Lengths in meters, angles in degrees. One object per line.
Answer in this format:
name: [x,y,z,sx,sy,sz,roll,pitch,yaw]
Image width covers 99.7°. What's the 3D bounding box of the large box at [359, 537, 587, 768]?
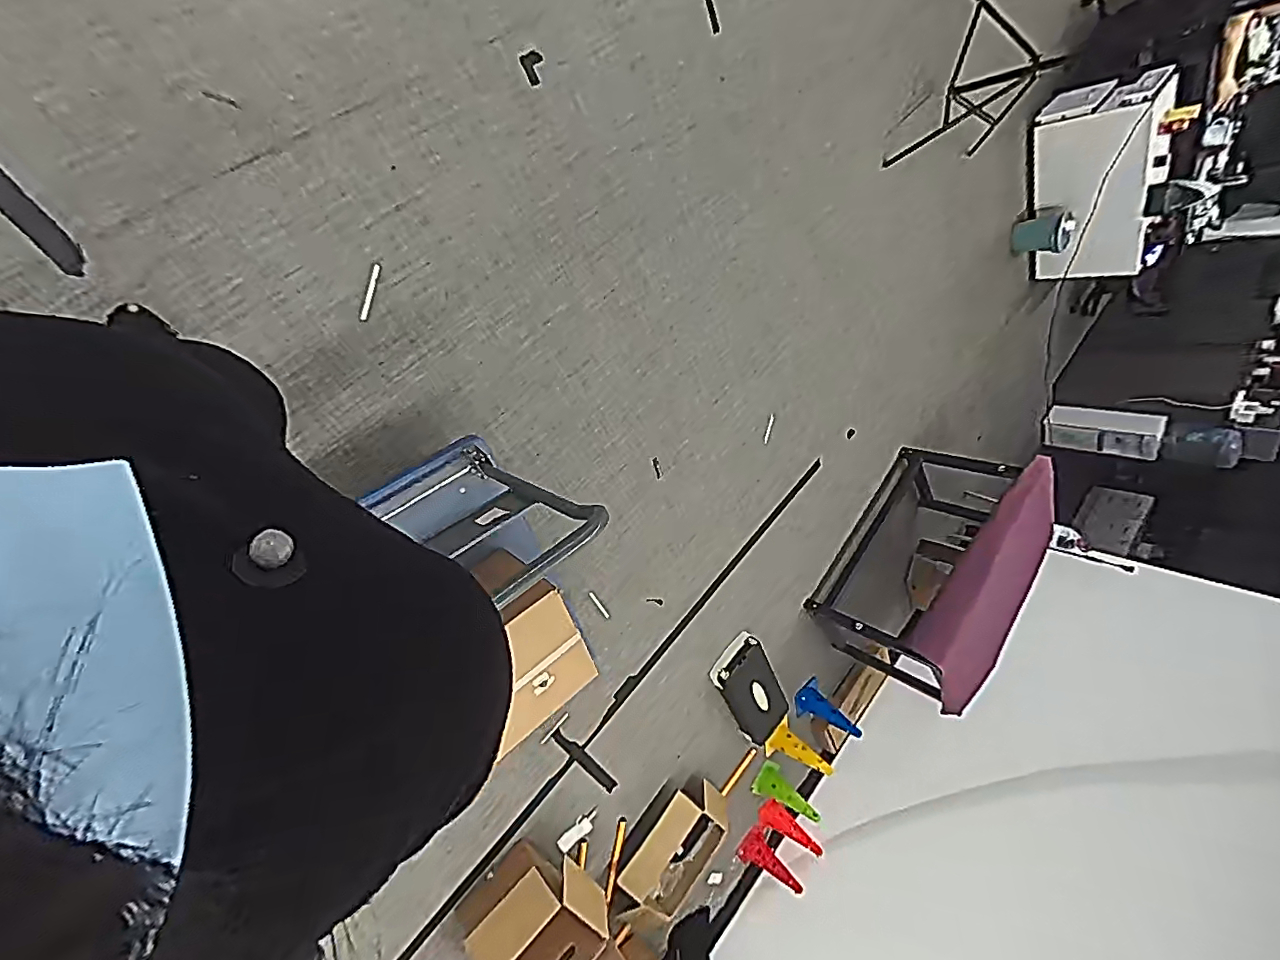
large box: [-0.418,0.413,1.379,0.408,0.320,0.320,-36,124,-28]
